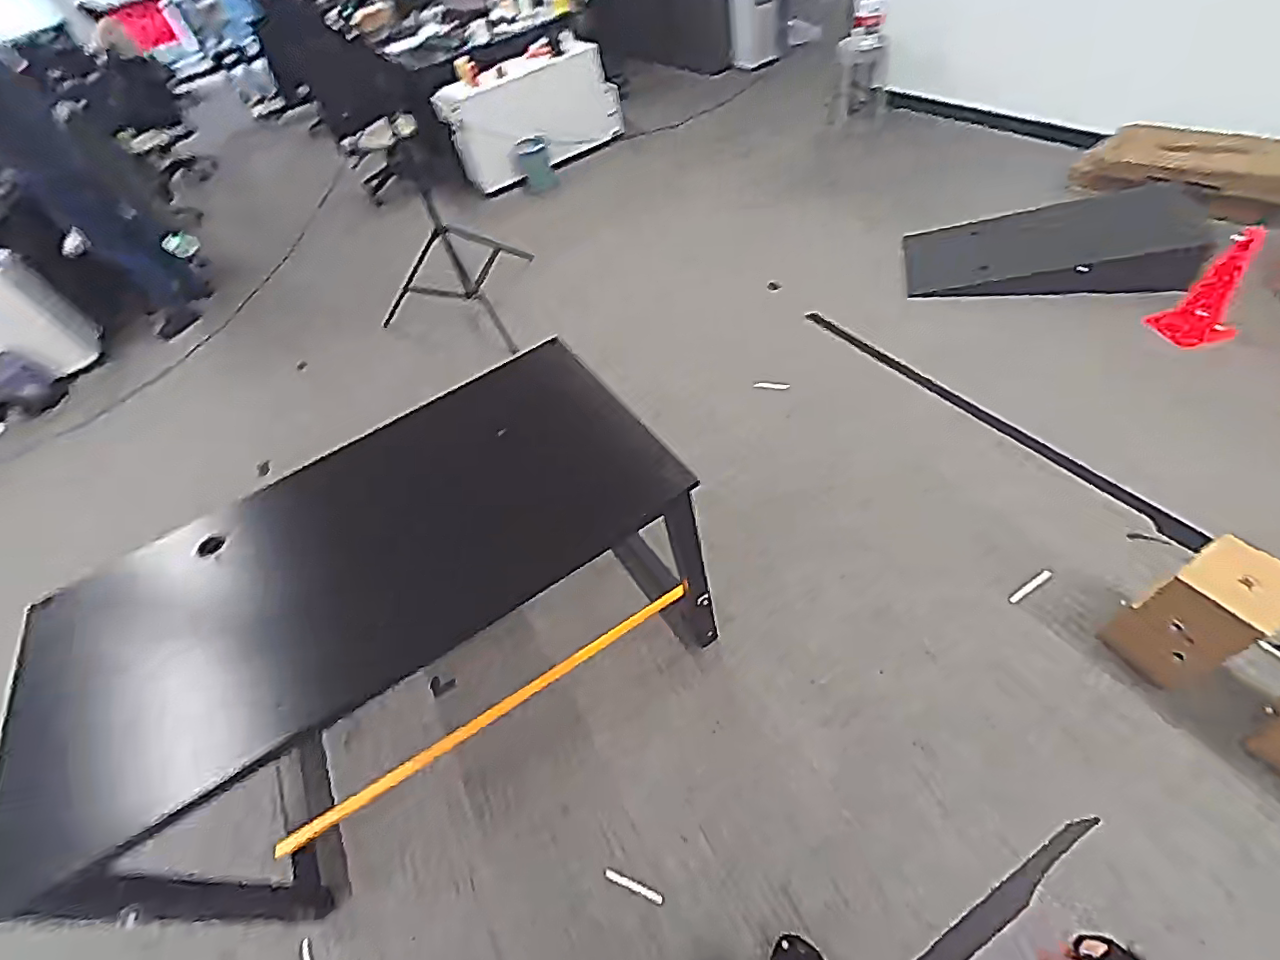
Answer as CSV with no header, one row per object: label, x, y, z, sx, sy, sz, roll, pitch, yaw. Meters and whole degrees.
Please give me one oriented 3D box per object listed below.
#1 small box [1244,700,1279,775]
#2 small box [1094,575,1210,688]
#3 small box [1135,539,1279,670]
small box,1.406,0.539,1.096,0.179,0.176,0.168,-33,52,-14
small box,1.241,0.365,1.274,0.168,0.176,0.179,-29,50,-12
small box,1.219,0.266,1.147,0.179,0.176,0.168,-32,50,-11
